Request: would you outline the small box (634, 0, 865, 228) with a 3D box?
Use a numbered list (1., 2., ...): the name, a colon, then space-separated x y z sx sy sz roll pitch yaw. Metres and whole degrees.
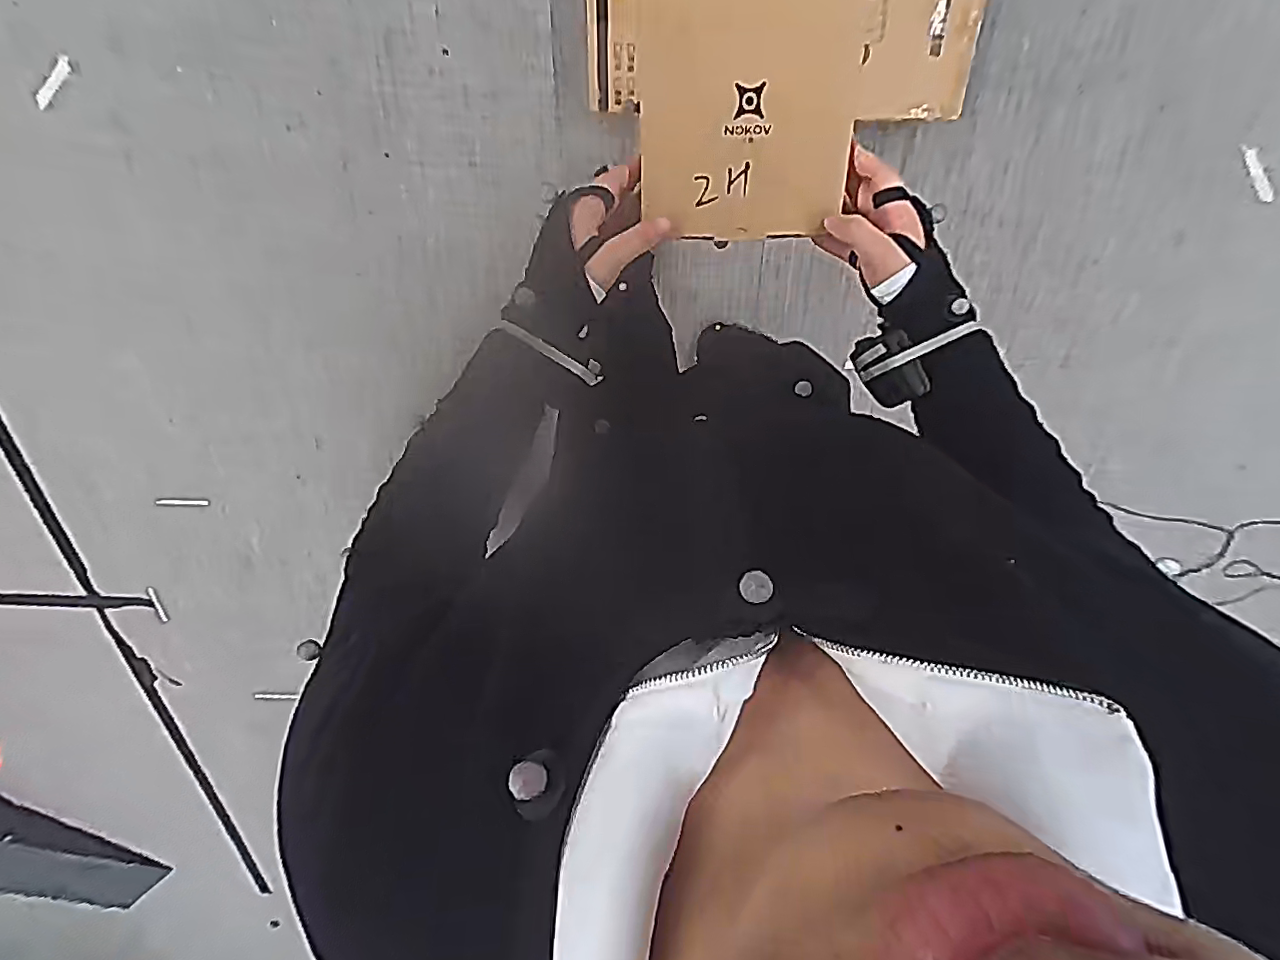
1. small box: 0.078 -0.324 0.482 0.168 0.176 0.179 0 118 1
